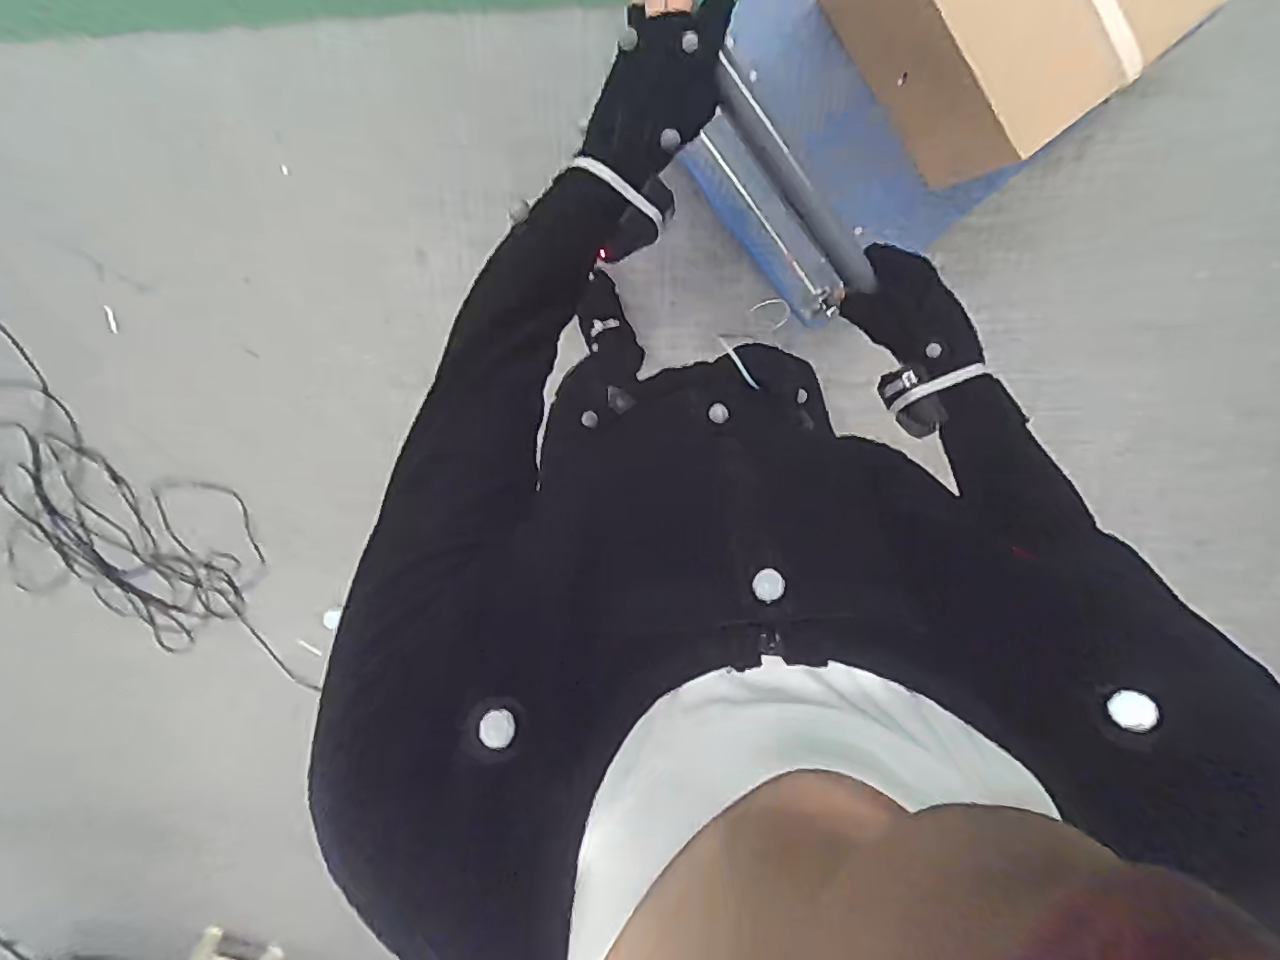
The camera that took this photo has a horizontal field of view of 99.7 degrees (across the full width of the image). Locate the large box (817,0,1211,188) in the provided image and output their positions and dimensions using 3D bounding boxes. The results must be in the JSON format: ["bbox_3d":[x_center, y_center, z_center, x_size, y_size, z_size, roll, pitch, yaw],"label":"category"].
[{"bbox_3d":[0.545,-0.752,0.844,0.320,0.320,0.408,-38,102,16],"label":"large box"}]
